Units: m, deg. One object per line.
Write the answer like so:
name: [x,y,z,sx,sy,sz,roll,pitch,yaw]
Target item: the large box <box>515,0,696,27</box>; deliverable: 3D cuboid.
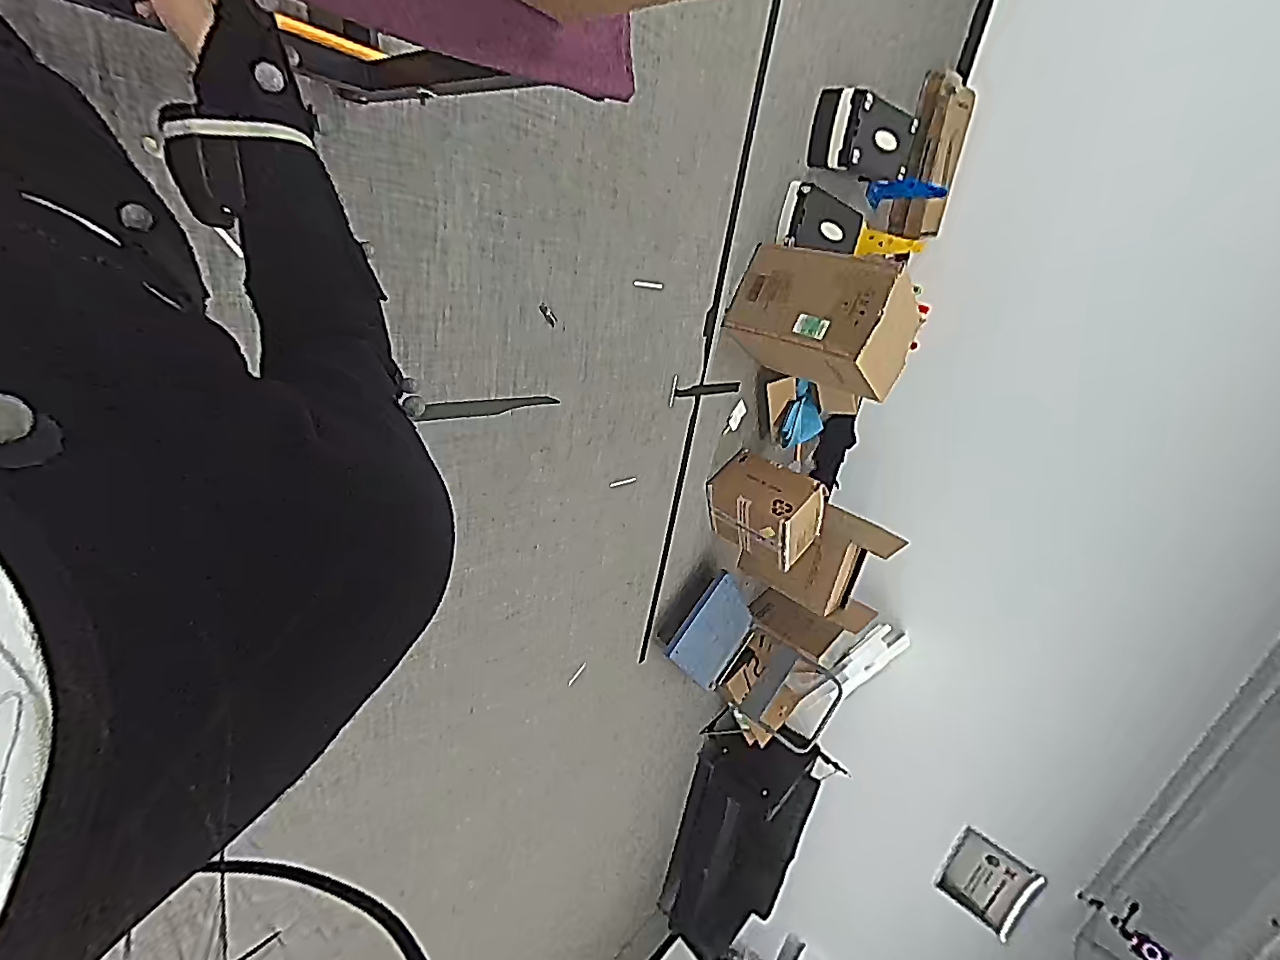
large box: [-0.051,-0.631,0.372,0.320,0.320,0.408,-16,123,-47]
